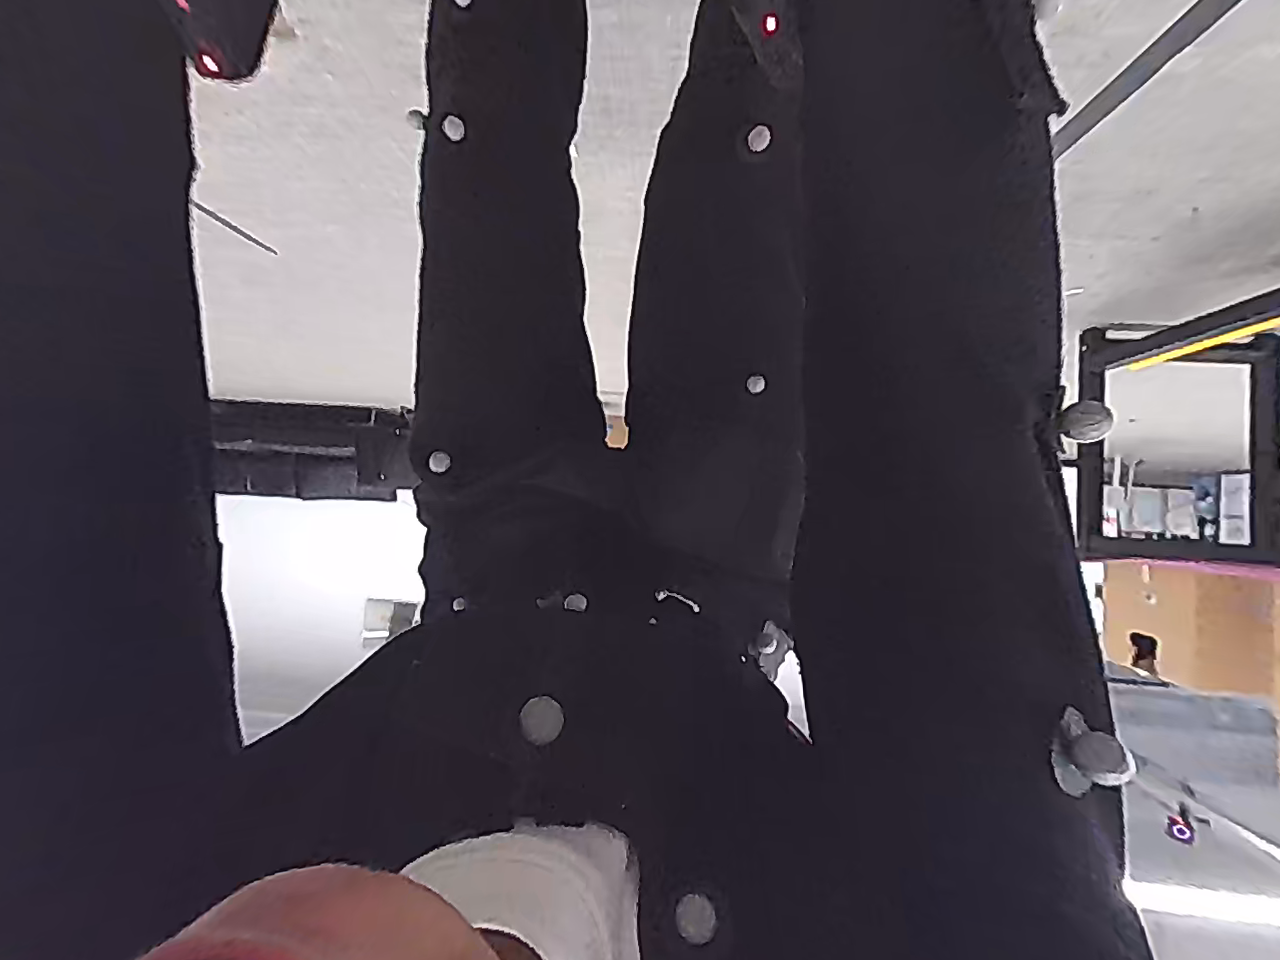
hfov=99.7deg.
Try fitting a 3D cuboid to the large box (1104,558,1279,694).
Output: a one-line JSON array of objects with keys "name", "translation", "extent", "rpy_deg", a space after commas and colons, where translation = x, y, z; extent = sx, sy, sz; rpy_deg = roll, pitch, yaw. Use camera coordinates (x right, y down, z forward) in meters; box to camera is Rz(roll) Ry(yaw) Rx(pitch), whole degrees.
[{"name": "large box", "translation": [1.615, 0.391, 1.502], "extent": [0.408, 0.320, 0.320], "rpy_deg": [2, 178, 5]}]
